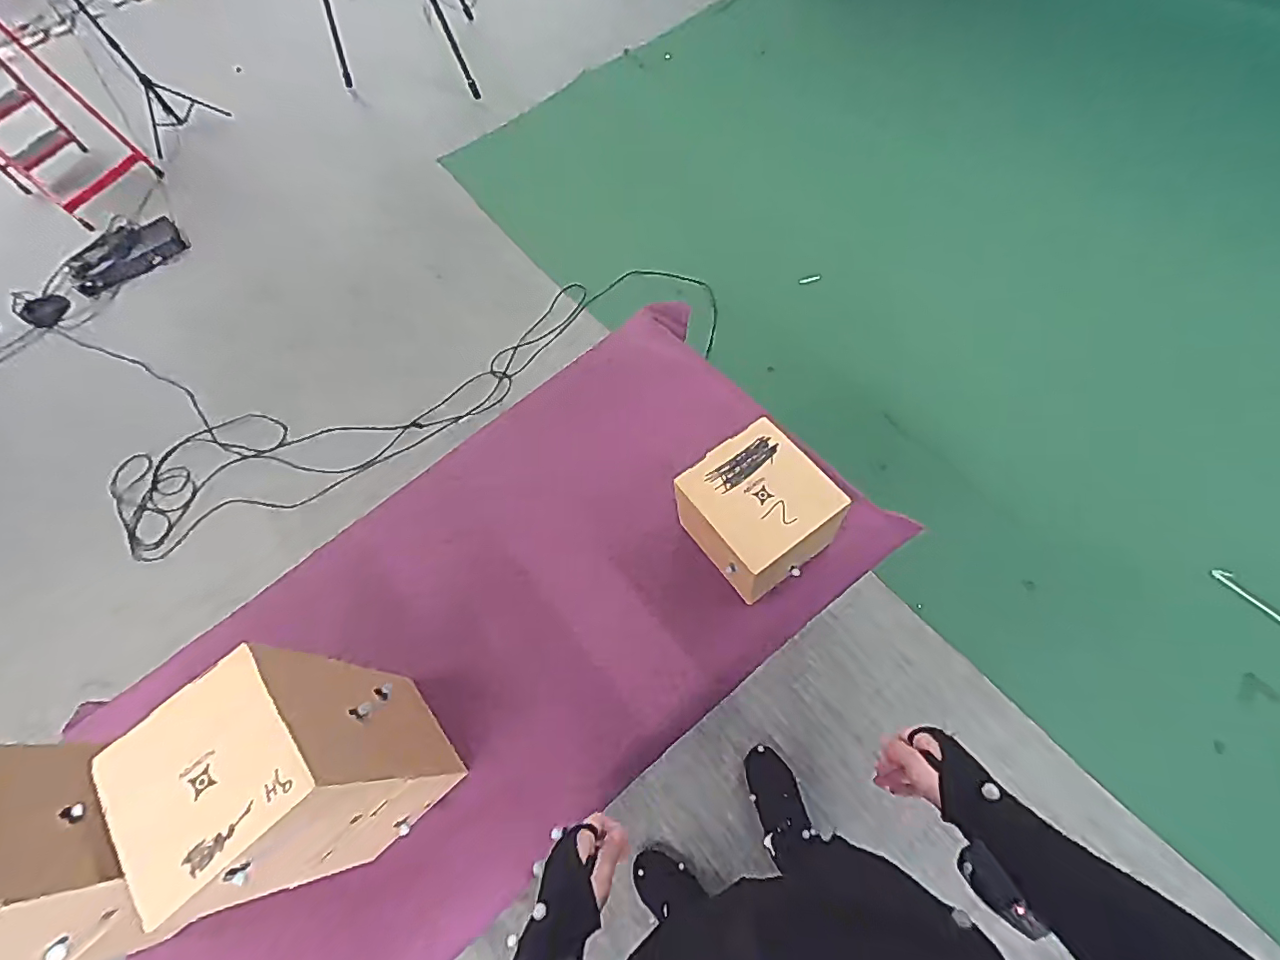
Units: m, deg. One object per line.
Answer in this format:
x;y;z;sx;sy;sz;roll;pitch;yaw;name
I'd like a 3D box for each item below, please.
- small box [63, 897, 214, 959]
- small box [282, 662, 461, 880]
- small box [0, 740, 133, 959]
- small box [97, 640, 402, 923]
-0.637;0.471;0.706;0.168;0.176;0.179;-41;67;-12;small box
-0.374;0.374;0.717;0.168;0.176;0.179;-40;67;-11;small box
-0.656;0.400;0.560;0.168;0.176;0.179;-42;68;-12;small box
-0.395;0.302;0.570;0.168;0.176;0.179;-41;66;-11;small box
